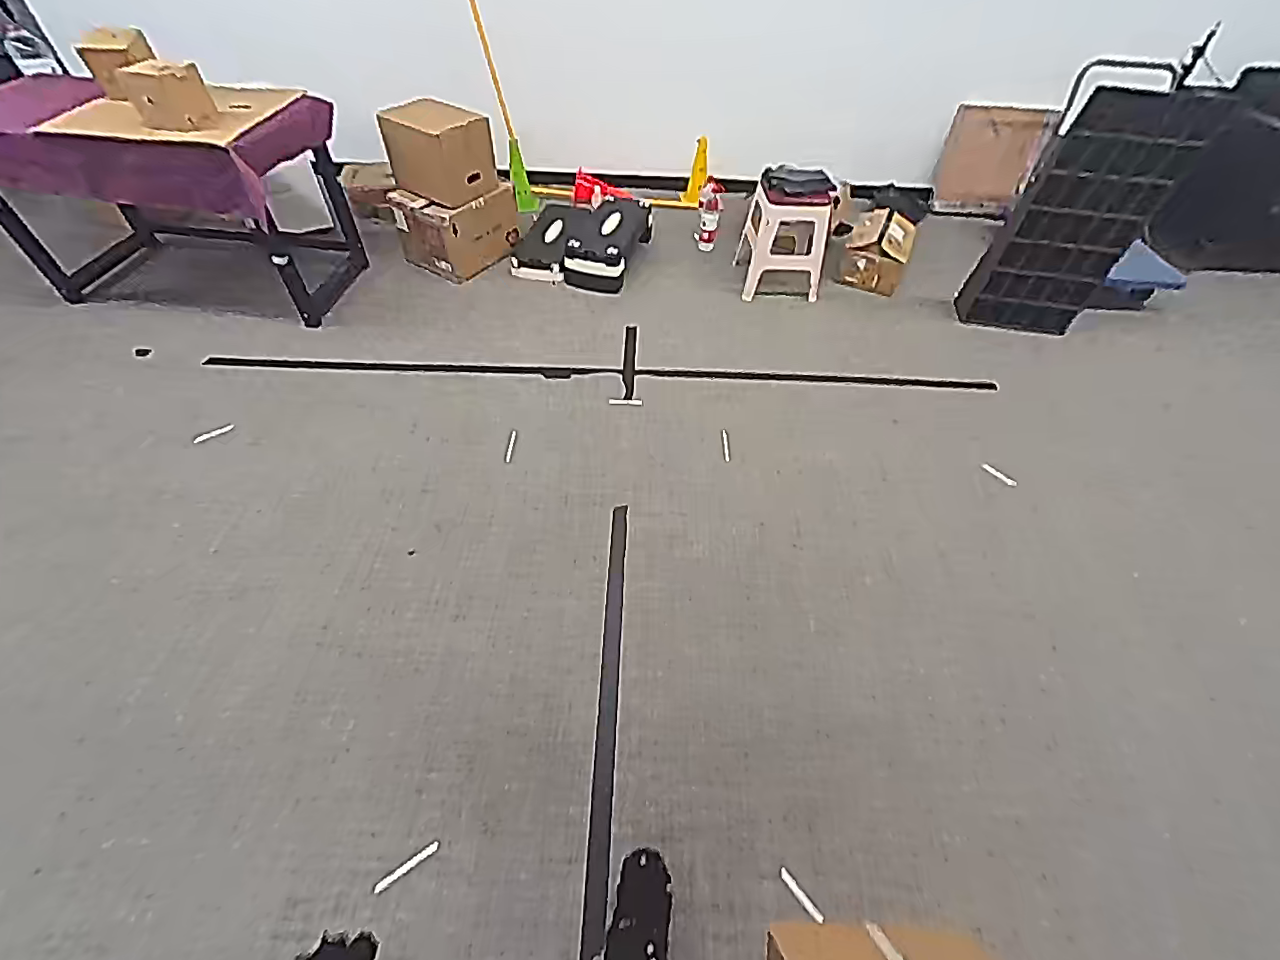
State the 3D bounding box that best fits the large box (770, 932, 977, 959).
[{"bbox_3d":[0.348,0.806,0.599,0.320,0.408,0.320,6,79,-4],"label":"large box"}]
